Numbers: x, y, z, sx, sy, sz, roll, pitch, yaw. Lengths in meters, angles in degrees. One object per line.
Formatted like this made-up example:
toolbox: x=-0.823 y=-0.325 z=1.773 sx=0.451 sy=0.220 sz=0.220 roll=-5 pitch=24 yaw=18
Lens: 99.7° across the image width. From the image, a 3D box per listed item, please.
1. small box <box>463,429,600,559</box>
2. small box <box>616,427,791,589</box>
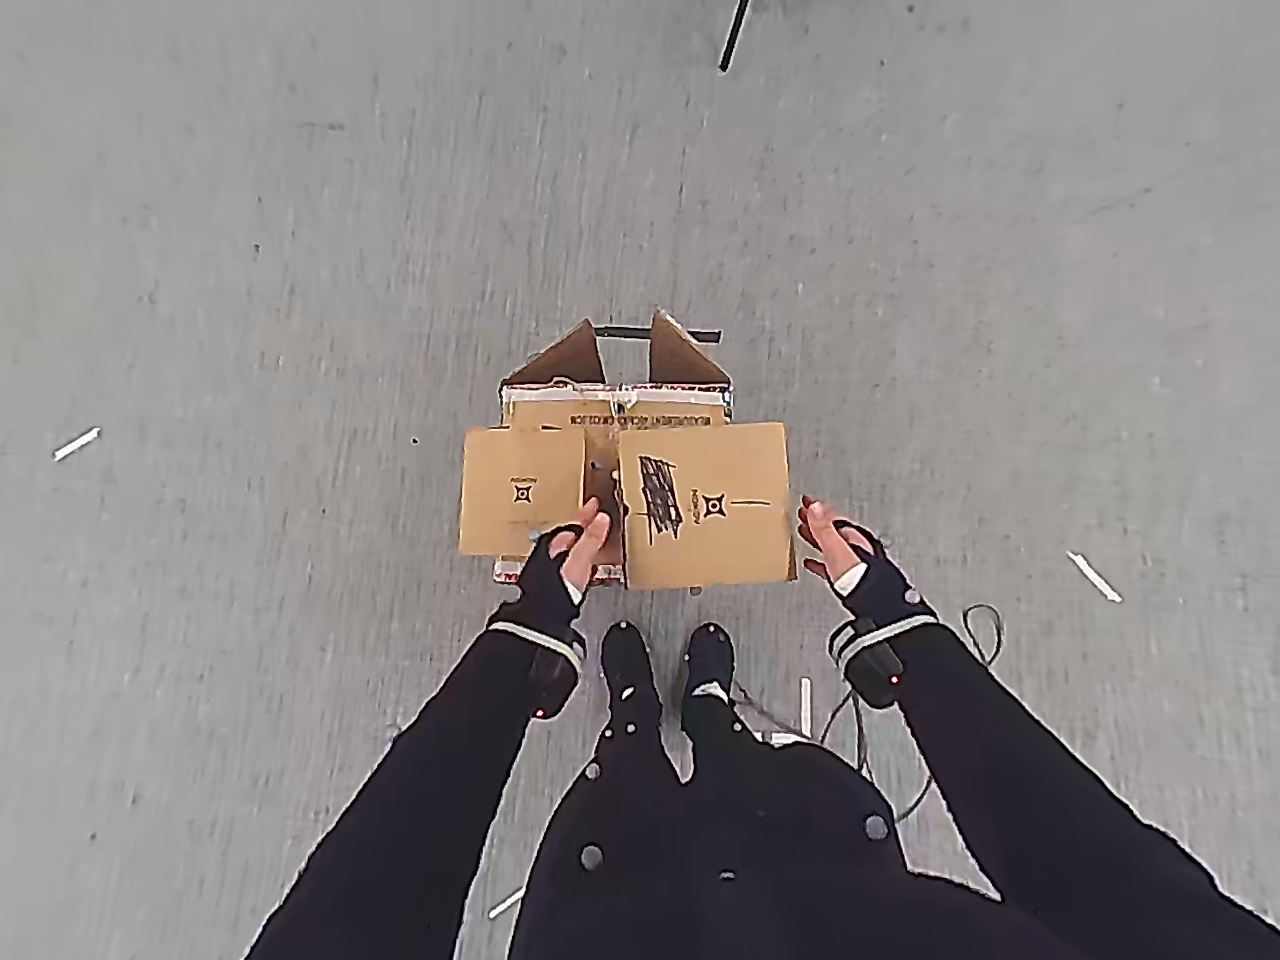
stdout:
small box: x=-0.153 y=0.025 z=0.810 sx=0.168 sy=0.176 sz=0.179 roll=0 pitch=86 yaw=3
small box: x=0.067 y=0.036 z=0.641 sx=0.179 sy=0.176 sz=0.168 roll=-3 pitch=85 yaw=0
